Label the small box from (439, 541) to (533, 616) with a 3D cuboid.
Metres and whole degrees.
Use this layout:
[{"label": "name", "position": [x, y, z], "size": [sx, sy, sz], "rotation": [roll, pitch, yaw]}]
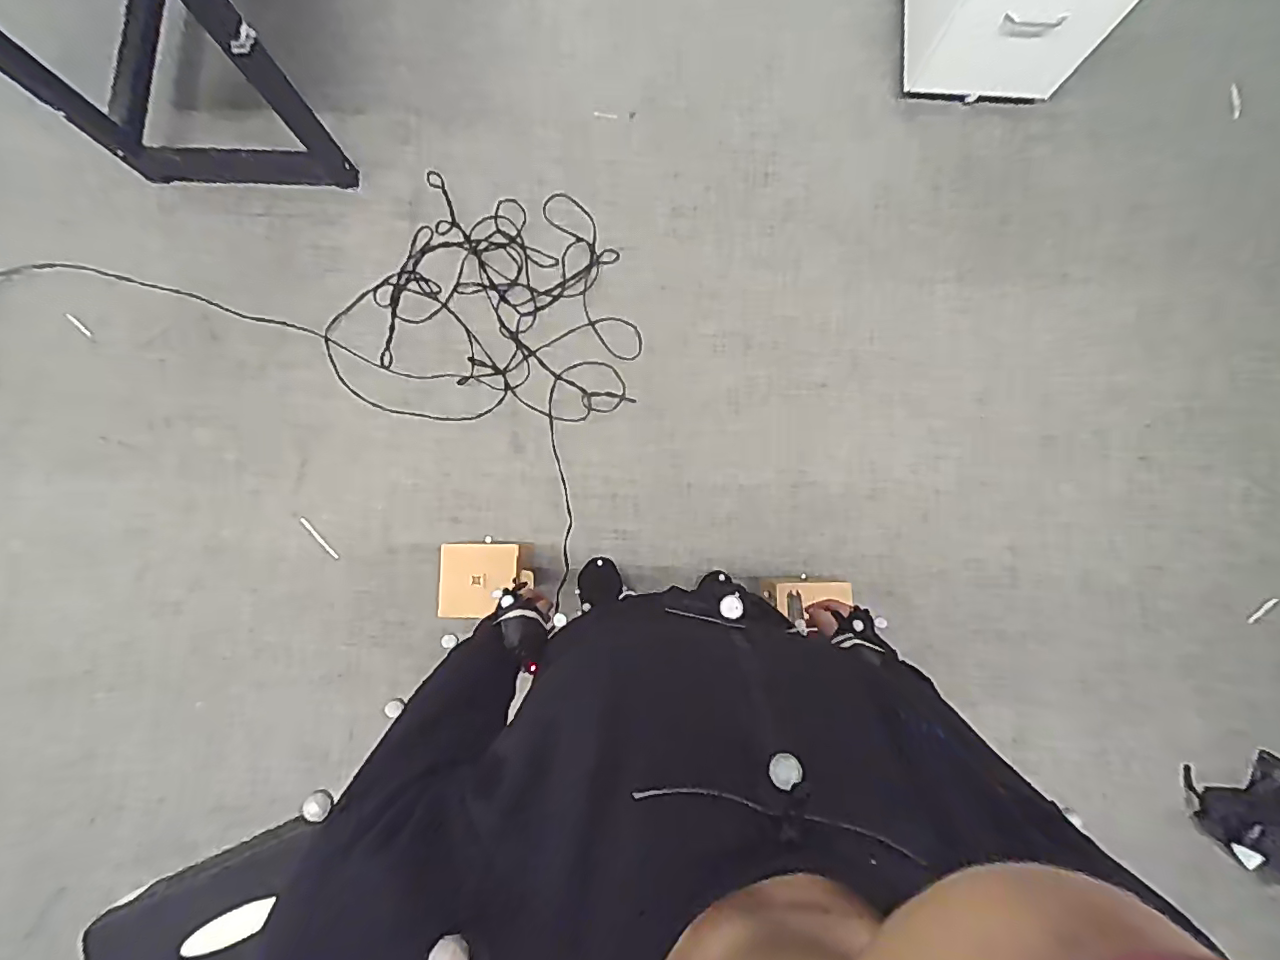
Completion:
[{"label": "small box", "position": [-0.362, 0.231, 1.291], "size": [0.179, 0.176, 0.168], "rotation": [0, 83, -1]}]
